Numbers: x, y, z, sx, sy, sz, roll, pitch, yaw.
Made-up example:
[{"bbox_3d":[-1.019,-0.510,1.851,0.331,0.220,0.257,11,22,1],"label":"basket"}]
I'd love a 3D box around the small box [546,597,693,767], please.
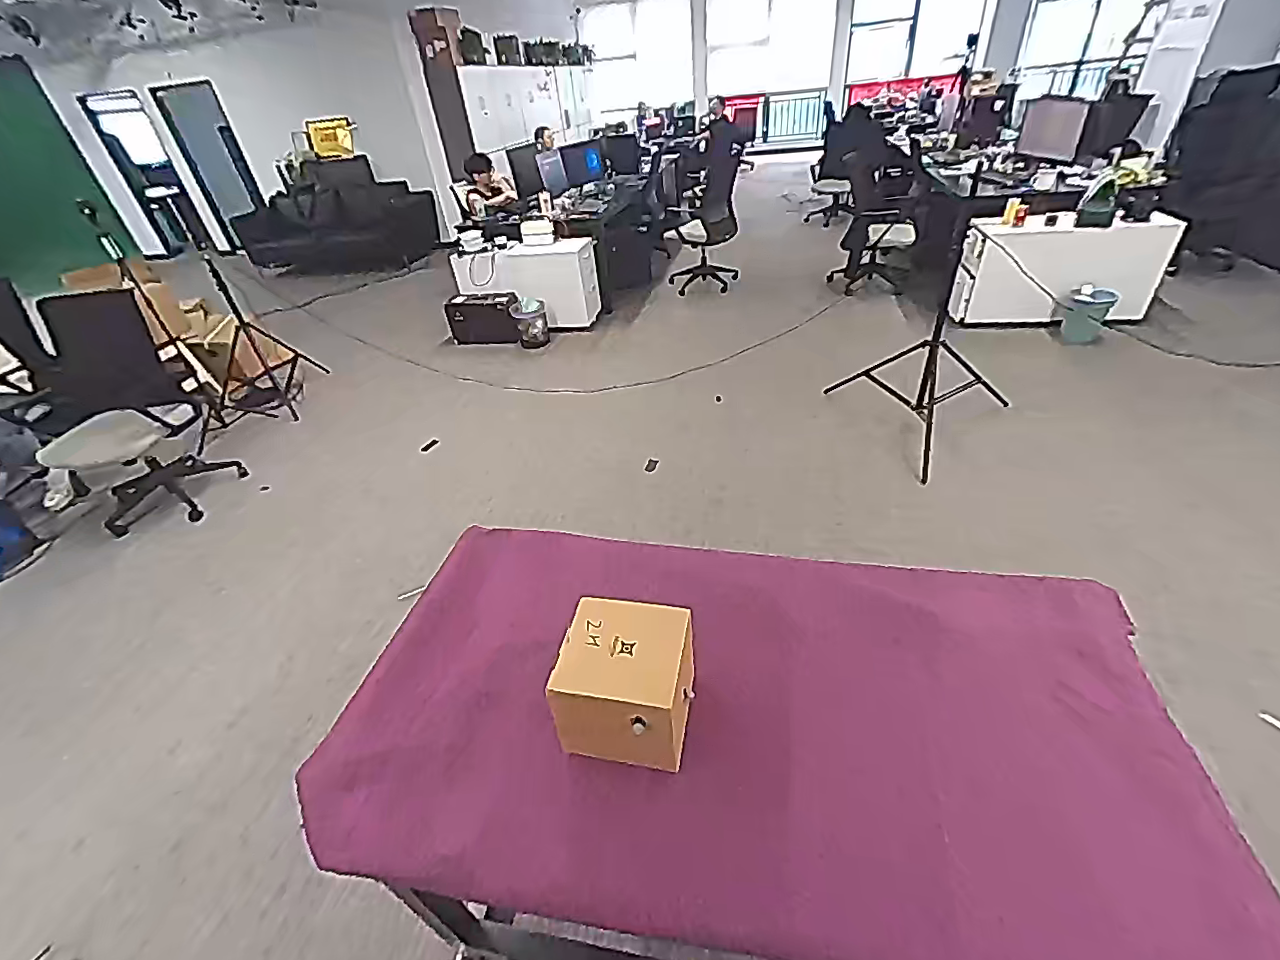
[{"bbox_3d":[-0.017,0.302,0.811,0.179,0.176,0.168,3,37,13],"label":"small box"}]
